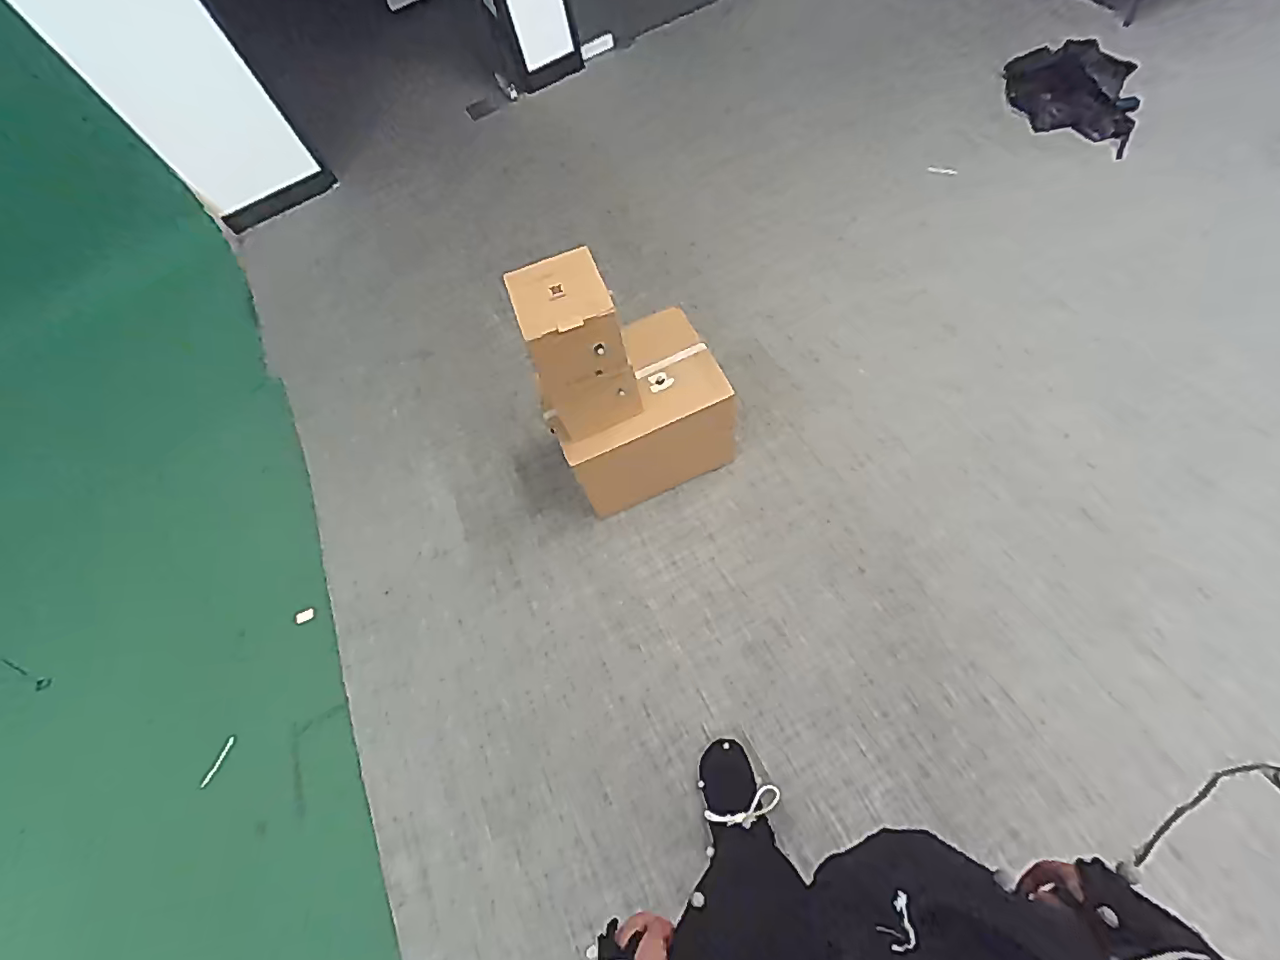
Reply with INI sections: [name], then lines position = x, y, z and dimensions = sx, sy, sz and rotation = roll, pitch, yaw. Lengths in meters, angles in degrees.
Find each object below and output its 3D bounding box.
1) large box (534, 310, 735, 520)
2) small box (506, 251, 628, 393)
[large box]
position = -0.003, -0.156, 1.391
dimensions = 0.408, 0.320, 0.320
rotation = -24, 63, -4
[small box]
position = -0.132, -0.287, 1.018
dimensions = 0.168, 0.176, 0.179
rotation = -20, 61, -3
